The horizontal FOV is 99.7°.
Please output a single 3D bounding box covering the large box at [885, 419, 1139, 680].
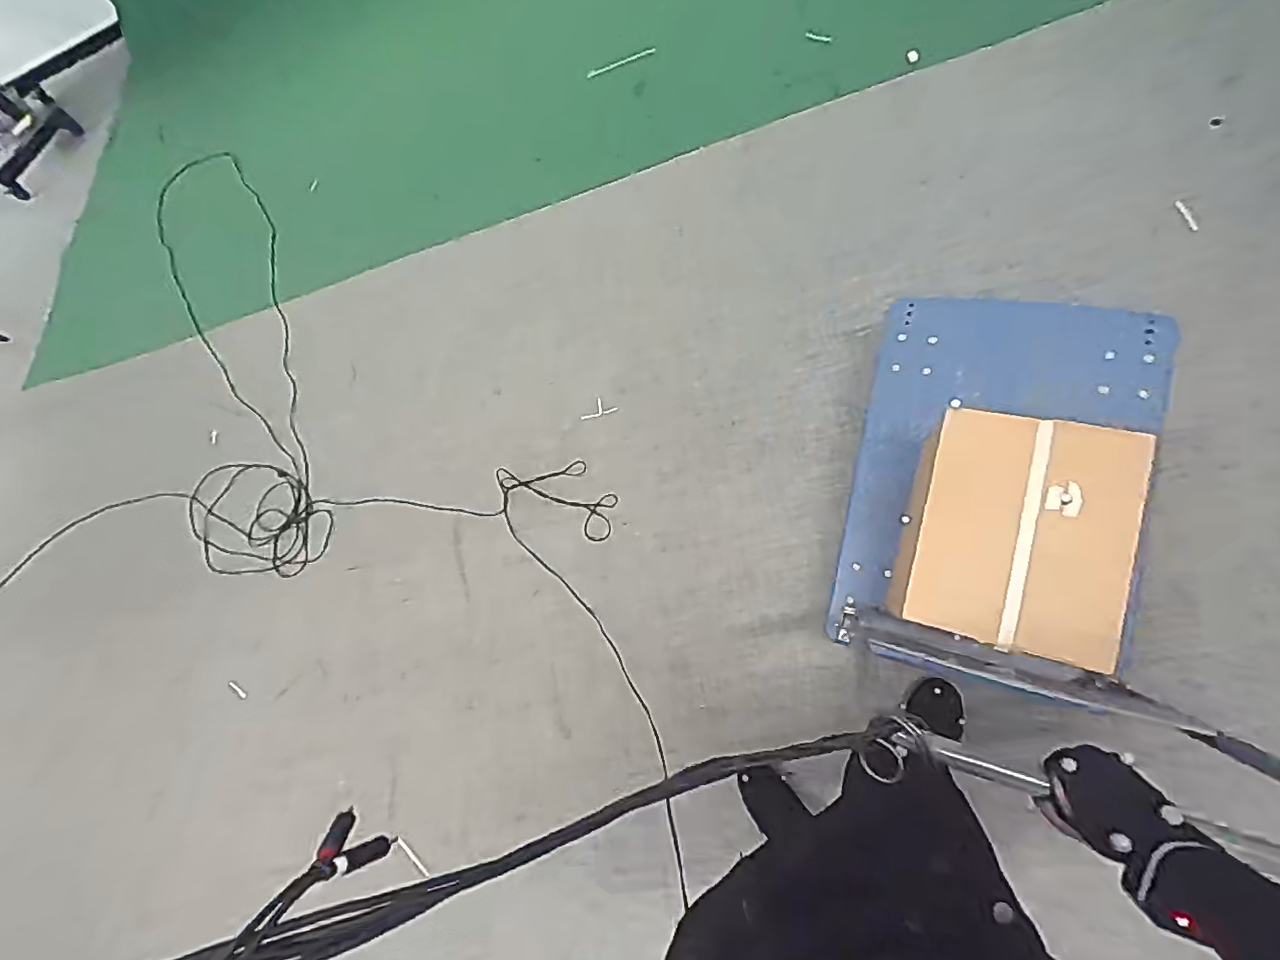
[{"bbox_3d":[0.704,0.137,1.083,0.320,0.320,0.408,14,83,21],"label":"large box"}]
